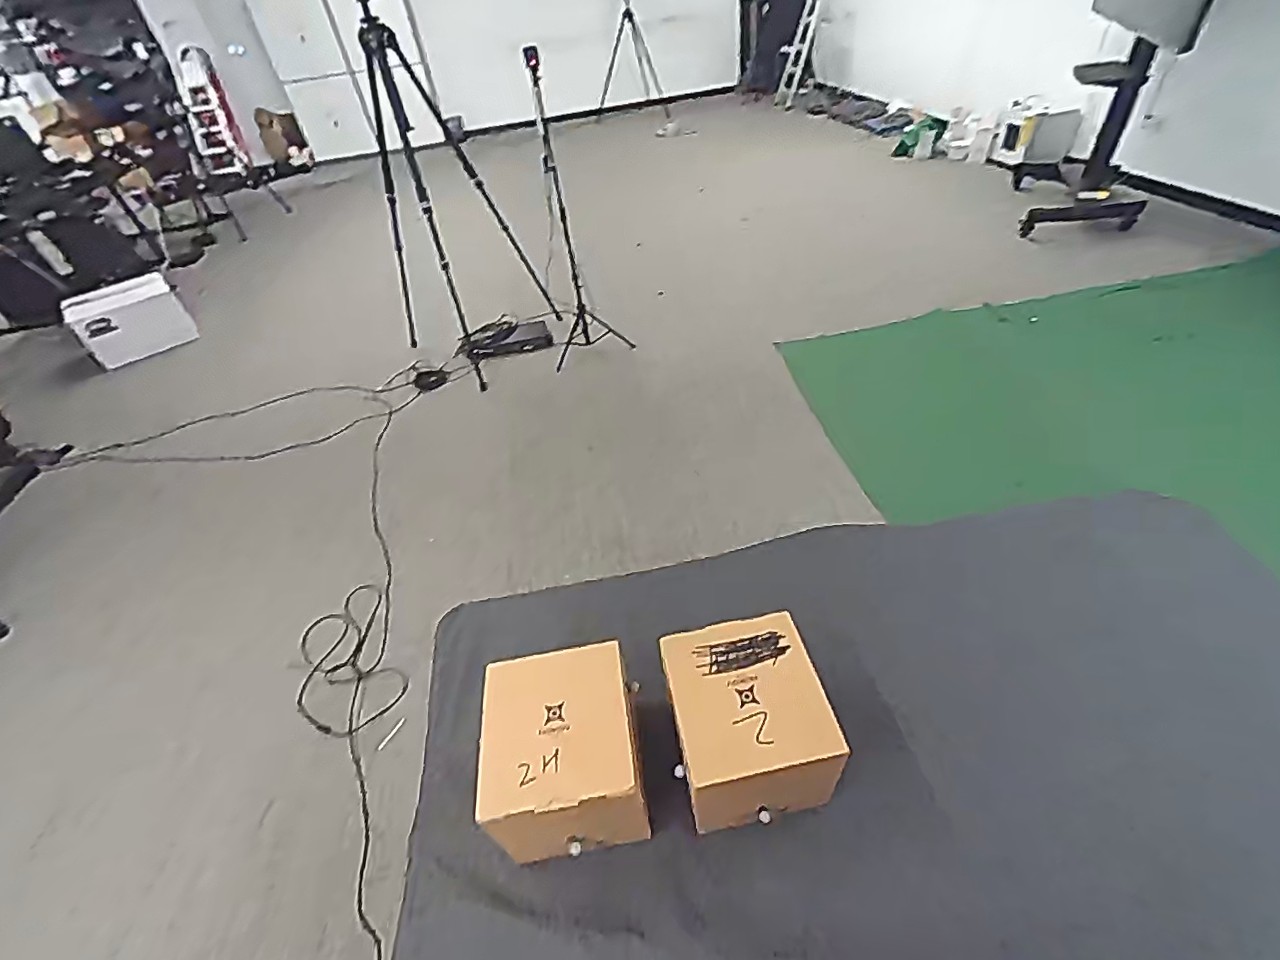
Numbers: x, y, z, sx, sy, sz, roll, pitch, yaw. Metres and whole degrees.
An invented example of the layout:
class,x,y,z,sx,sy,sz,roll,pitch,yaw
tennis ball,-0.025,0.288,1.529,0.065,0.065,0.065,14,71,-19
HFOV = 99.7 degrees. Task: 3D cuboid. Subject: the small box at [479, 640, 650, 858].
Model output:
class,x,y,z,sx,sy,sz,roll,pitch,yaw
small box,-0.084,0.326,0.660,0.168,0.176,0.179,-10,42,-1
